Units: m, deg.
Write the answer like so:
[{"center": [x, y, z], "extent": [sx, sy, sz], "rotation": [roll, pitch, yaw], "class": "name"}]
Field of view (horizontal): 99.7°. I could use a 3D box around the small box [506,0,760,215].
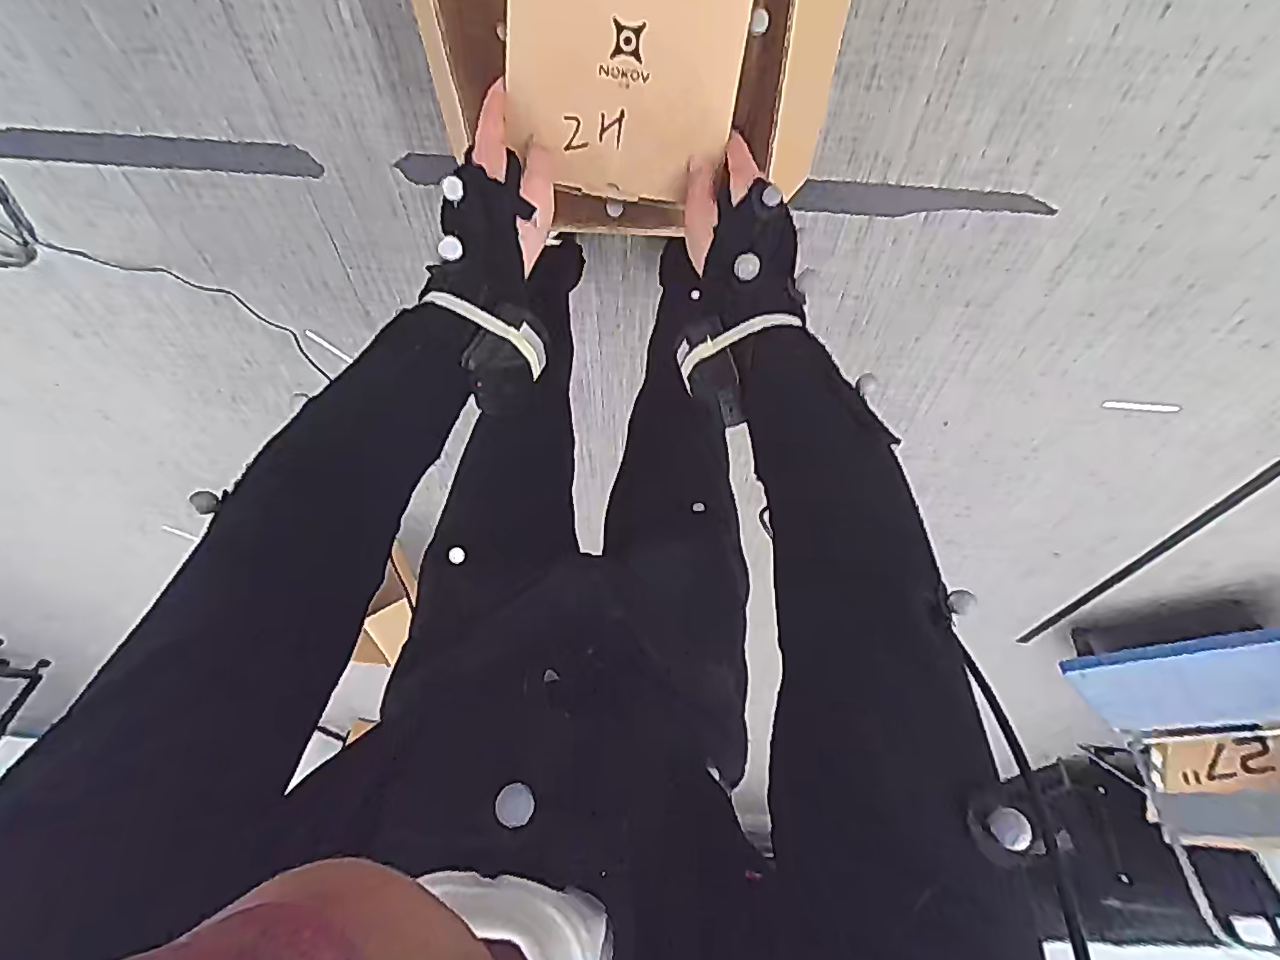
[{"center": [-0.008, -0.329, 0.447], "extent": [0.168, 0.176, 0.179], "rotation": [8, 117, -4], "class": "small box"}]
